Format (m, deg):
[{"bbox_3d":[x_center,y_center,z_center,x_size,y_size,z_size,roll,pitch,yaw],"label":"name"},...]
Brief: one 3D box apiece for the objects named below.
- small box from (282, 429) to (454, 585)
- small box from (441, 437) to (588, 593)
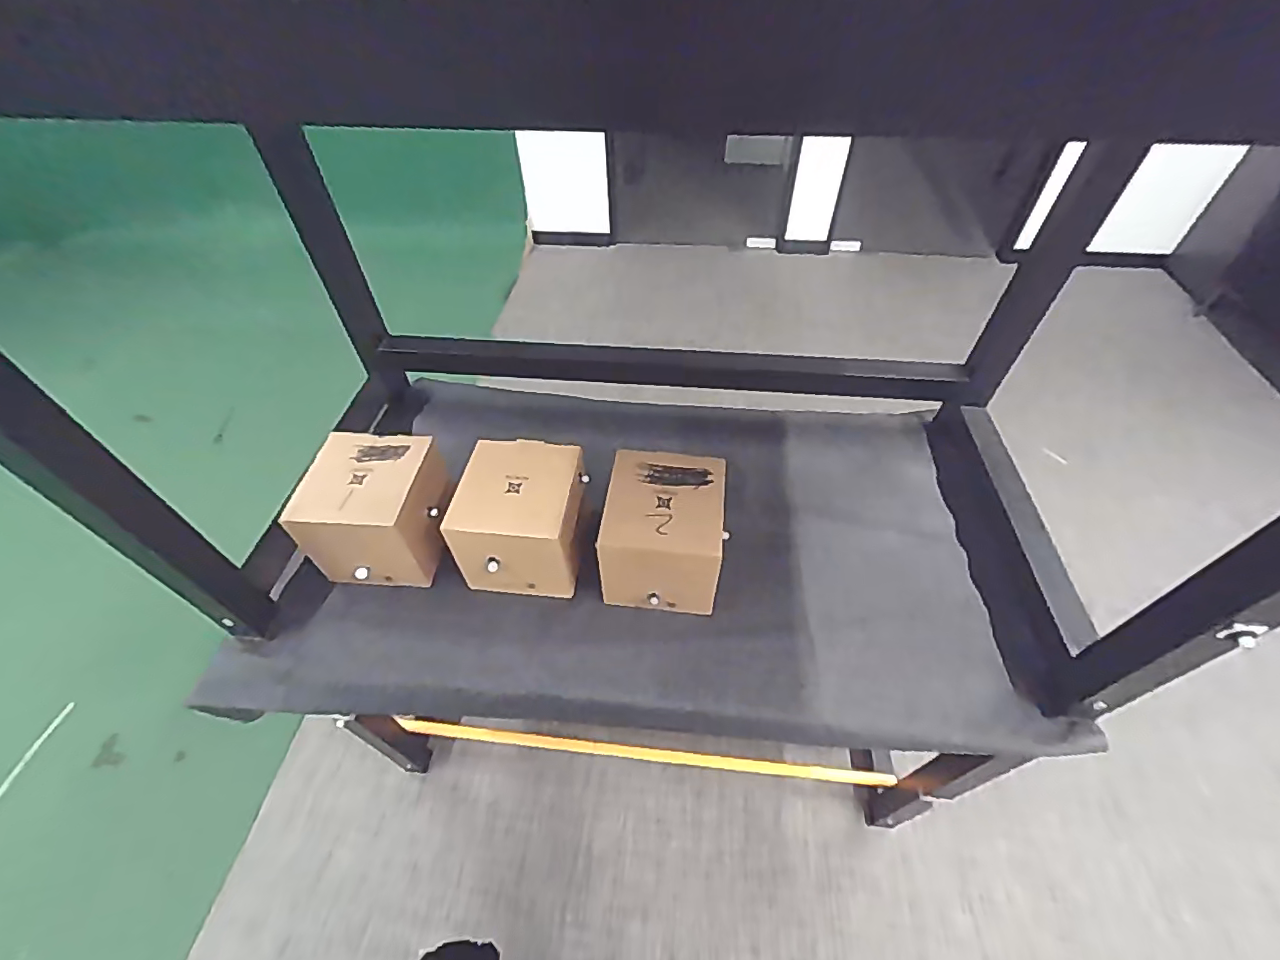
[{"bbox_3d":[-0.405,0.043,0.849,0.168,0.176,0.179,3,49,3],"label":"small box"},{"bbox_3d":[-0.178,0.057,0.837,0.168,0.176,0.179,5,49,4],"label":"small box"}]
